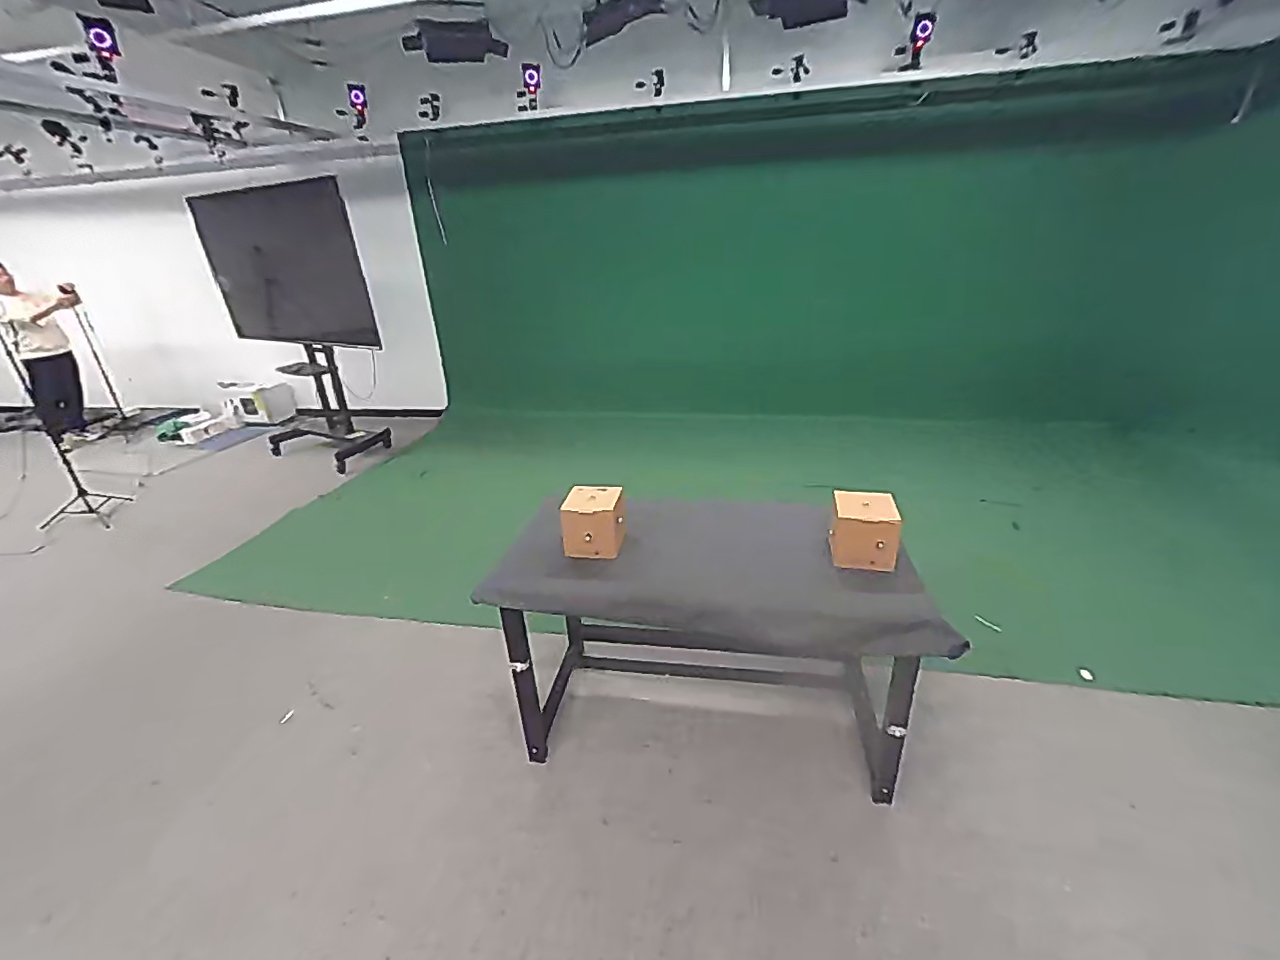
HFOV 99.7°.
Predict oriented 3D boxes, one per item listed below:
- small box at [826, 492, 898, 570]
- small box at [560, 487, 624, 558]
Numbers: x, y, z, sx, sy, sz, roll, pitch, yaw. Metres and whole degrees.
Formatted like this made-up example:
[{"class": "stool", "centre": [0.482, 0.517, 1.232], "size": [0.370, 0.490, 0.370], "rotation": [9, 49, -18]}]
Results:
[{"class": "small box", "centre": [0.651, 0.150, 1.601], "size": [0.168, 0.176, 0.179], "rotation": [4, 24, 12]}, {"class": "small box", "centre": [-0.147, 0.136, 1.731], "size": [0.168, 0.176, 0.179], "rotation": [2, 25, 9]}]
